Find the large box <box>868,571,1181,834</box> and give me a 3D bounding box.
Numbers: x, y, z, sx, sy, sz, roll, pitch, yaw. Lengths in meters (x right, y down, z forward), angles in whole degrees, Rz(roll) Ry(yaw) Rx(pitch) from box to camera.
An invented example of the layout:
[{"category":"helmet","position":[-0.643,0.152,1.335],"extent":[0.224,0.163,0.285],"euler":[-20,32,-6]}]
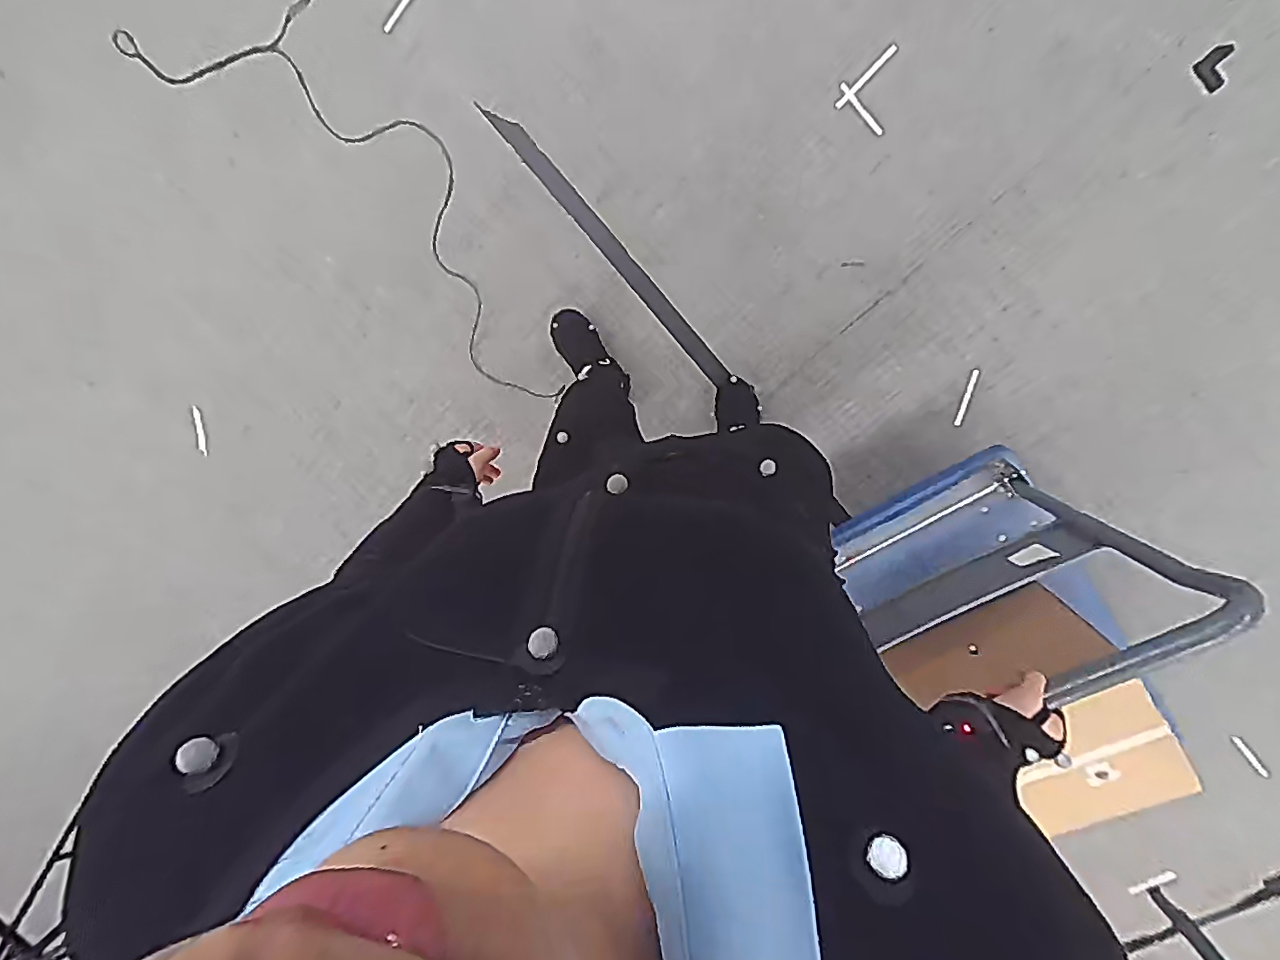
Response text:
[{"category":"large box","position":[0.792,0.469,1.186],"extent":[0.408,0.320,0.320],"euler":[-33,99,15]}]
